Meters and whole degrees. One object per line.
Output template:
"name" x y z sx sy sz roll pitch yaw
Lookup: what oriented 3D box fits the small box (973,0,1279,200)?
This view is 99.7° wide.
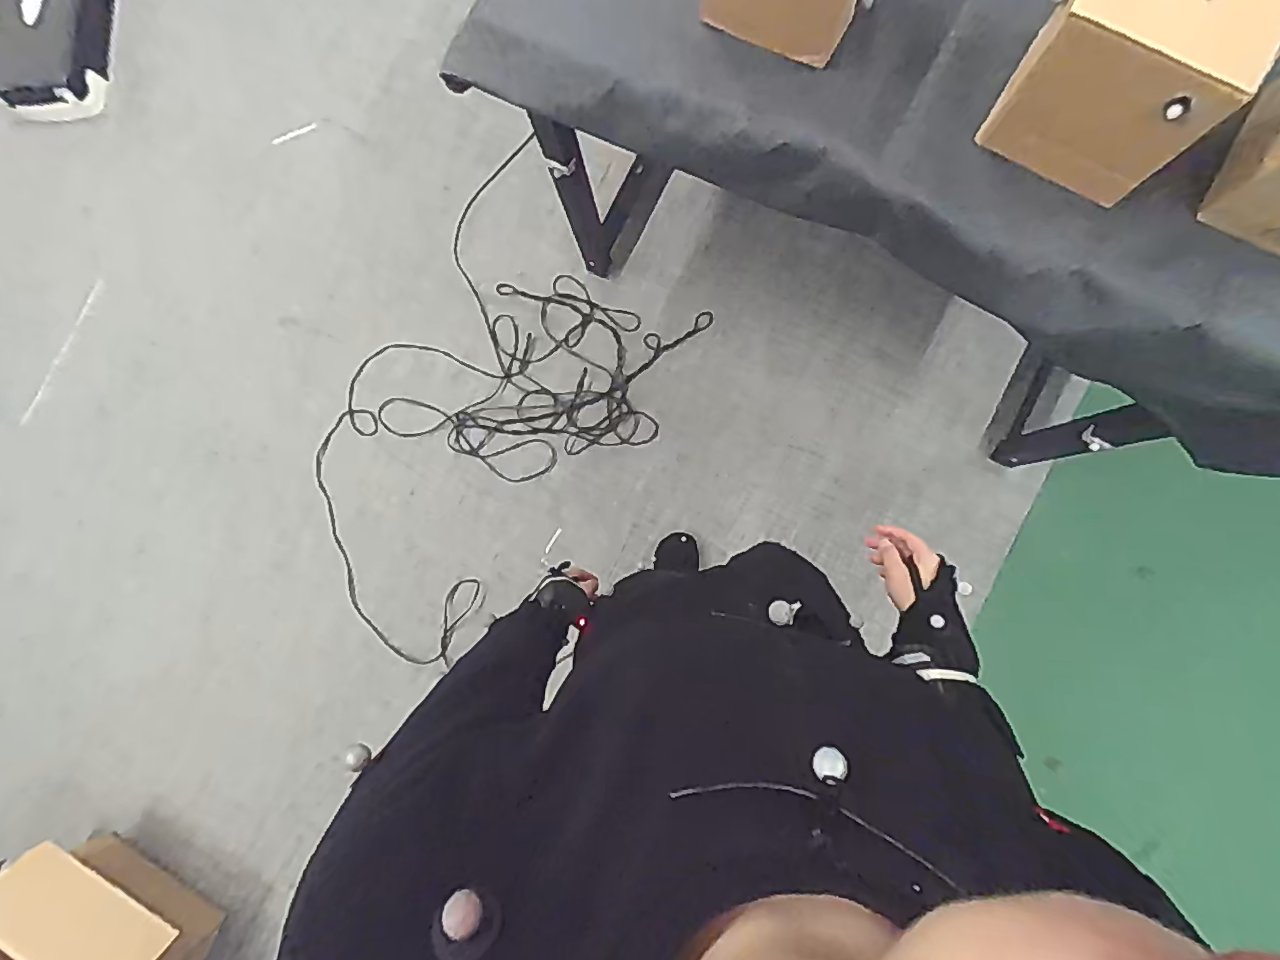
"small box" 0.496 -0.435 0.562 0.179 0.176 0.168 31 87 6

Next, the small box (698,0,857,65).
"small box" 0.175 -0.620 0.602 0.179 0.176 0.168 27 88 5
